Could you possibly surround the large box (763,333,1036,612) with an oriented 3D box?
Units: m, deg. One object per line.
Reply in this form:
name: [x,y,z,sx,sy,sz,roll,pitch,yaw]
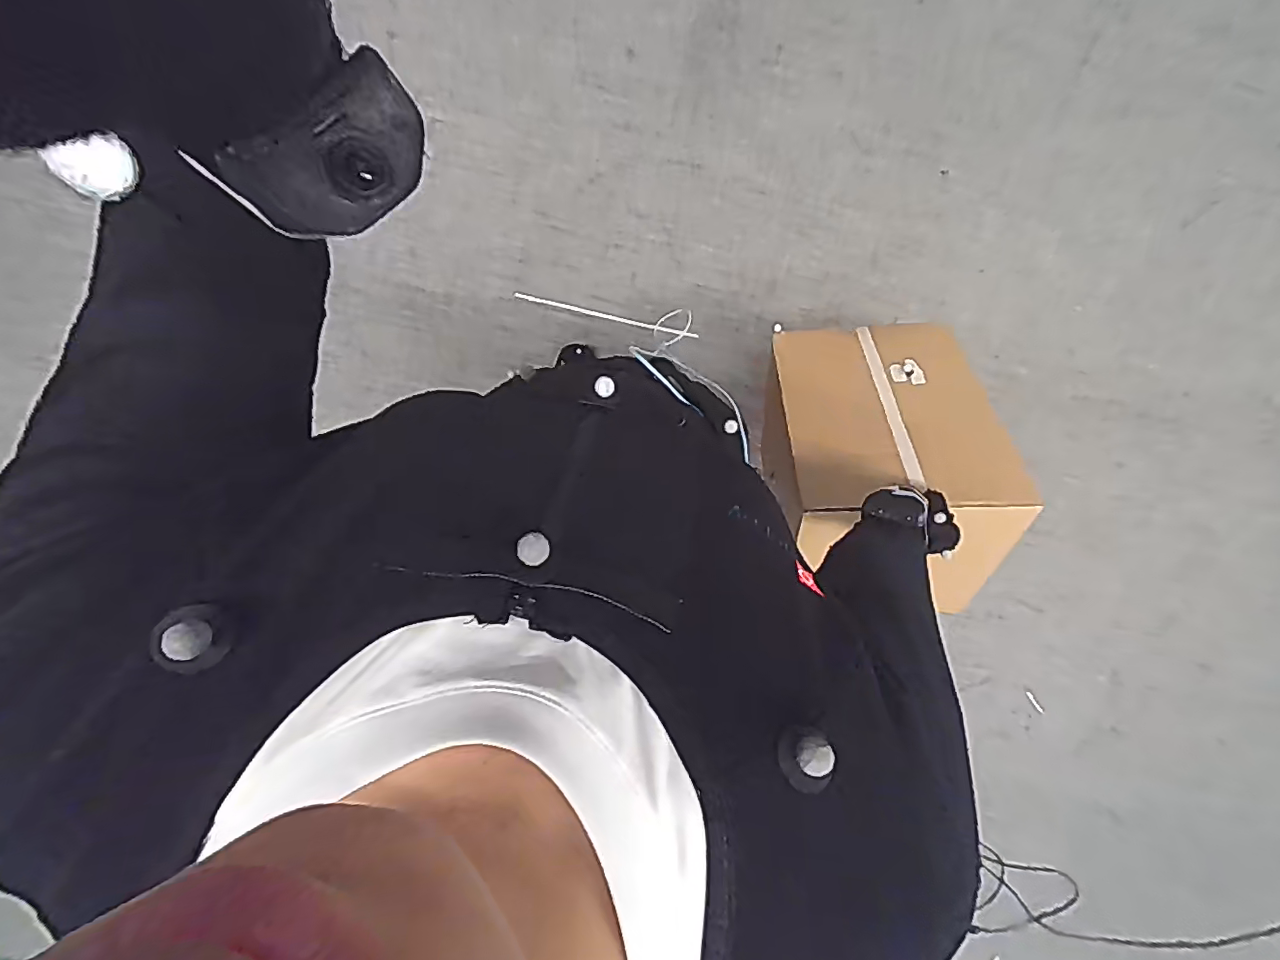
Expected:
large box: [0.405,-0.012,0.976,0.320,0.408,0.320,-1,140,6]
